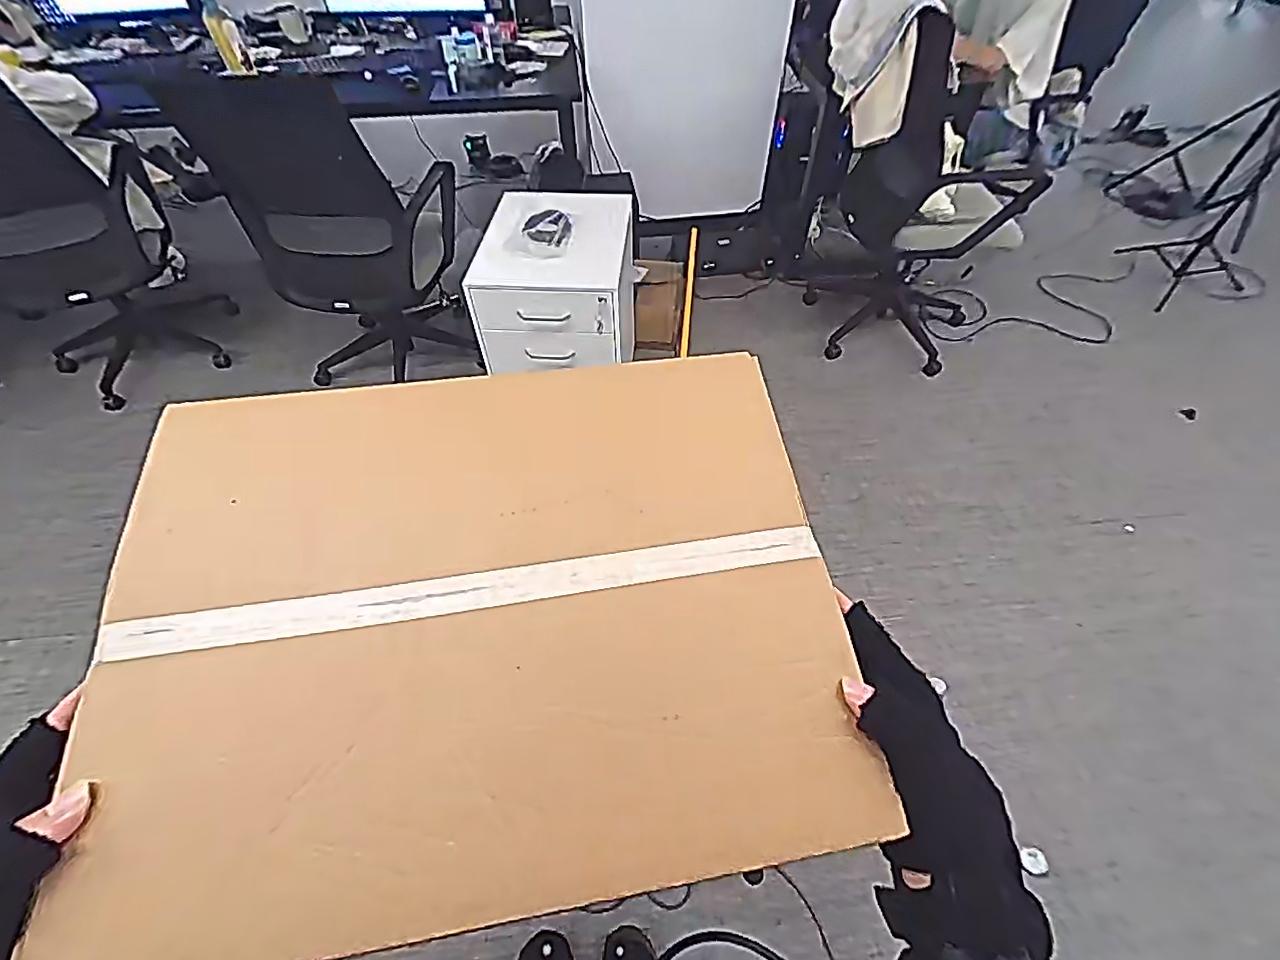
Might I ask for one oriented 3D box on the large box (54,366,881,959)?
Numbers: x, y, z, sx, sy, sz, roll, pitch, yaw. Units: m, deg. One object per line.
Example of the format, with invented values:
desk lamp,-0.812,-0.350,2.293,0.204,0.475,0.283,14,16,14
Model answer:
large box,-0.097,0.140,0.455,0.408,0.320,0.320,-7,63,-7
